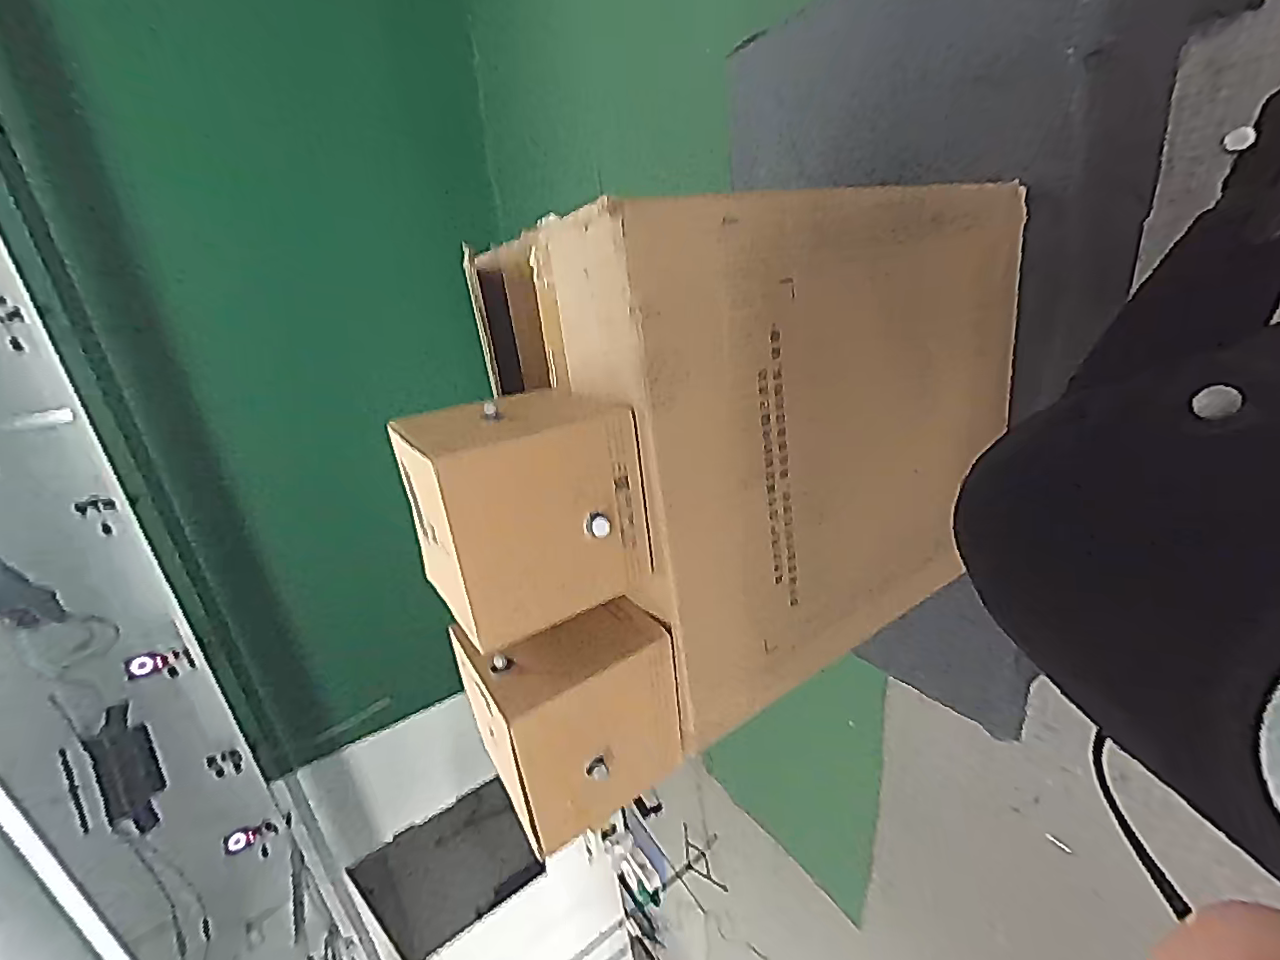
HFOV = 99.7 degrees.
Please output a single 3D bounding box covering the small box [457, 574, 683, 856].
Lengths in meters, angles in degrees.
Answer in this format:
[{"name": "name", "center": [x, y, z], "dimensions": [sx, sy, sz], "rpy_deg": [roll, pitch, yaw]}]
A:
[{"name": "small box", "center": [-0.068, 0.231, 0.574], "dimensions": [0.168, 0.176, 0.179], "rpy_deg": [23, 128, 50]}]
